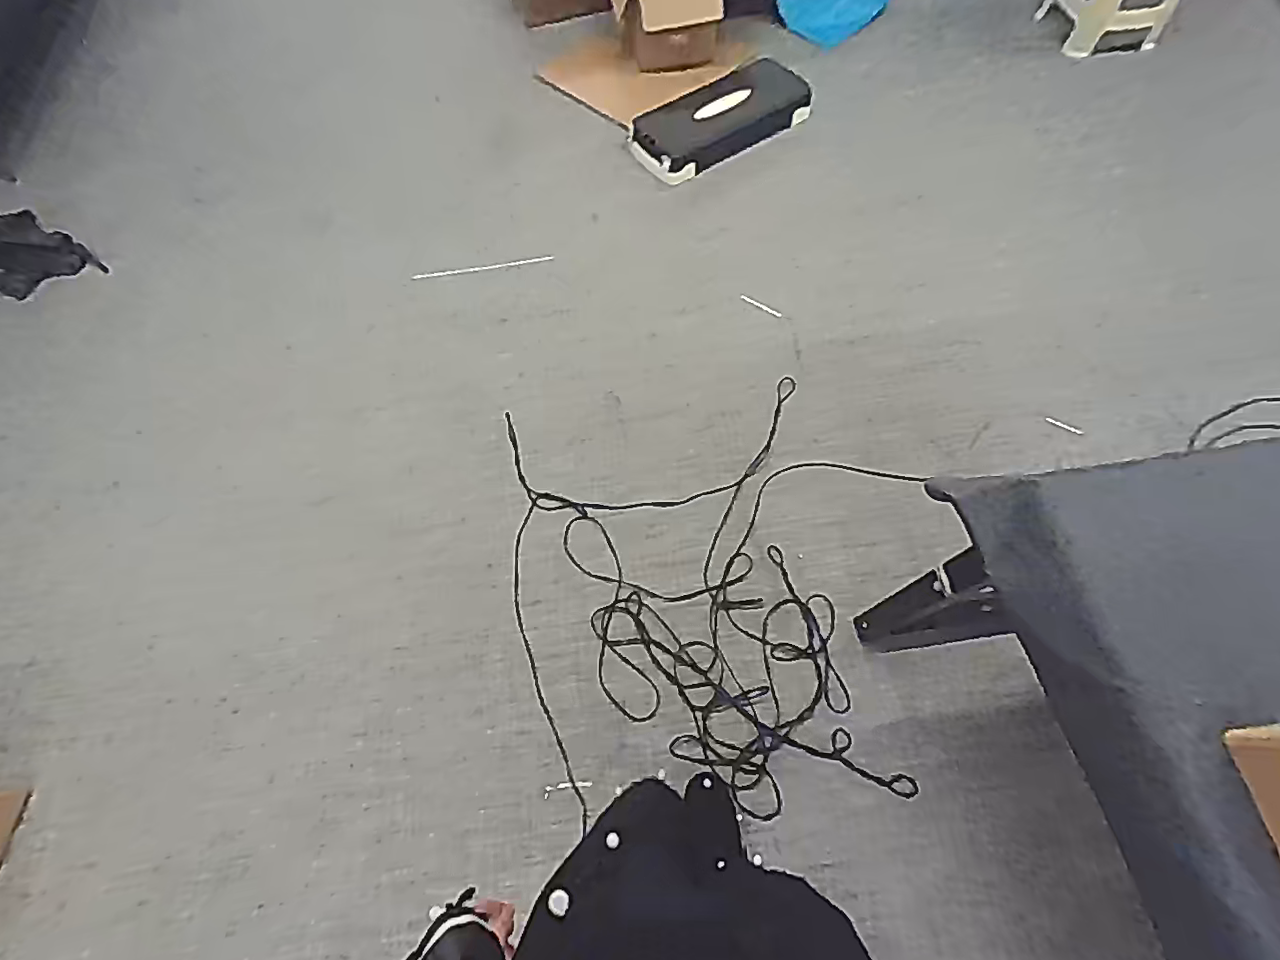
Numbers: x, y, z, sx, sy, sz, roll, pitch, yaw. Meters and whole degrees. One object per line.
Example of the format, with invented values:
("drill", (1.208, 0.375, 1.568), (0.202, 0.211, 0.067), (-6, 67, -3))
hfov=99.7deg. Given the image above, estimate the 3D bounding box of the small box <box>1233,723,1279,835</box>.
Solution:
("small box", (0.615, 0.263, 0.387), (0.168, 0.176, 0.179), (-6, 65, -2))
